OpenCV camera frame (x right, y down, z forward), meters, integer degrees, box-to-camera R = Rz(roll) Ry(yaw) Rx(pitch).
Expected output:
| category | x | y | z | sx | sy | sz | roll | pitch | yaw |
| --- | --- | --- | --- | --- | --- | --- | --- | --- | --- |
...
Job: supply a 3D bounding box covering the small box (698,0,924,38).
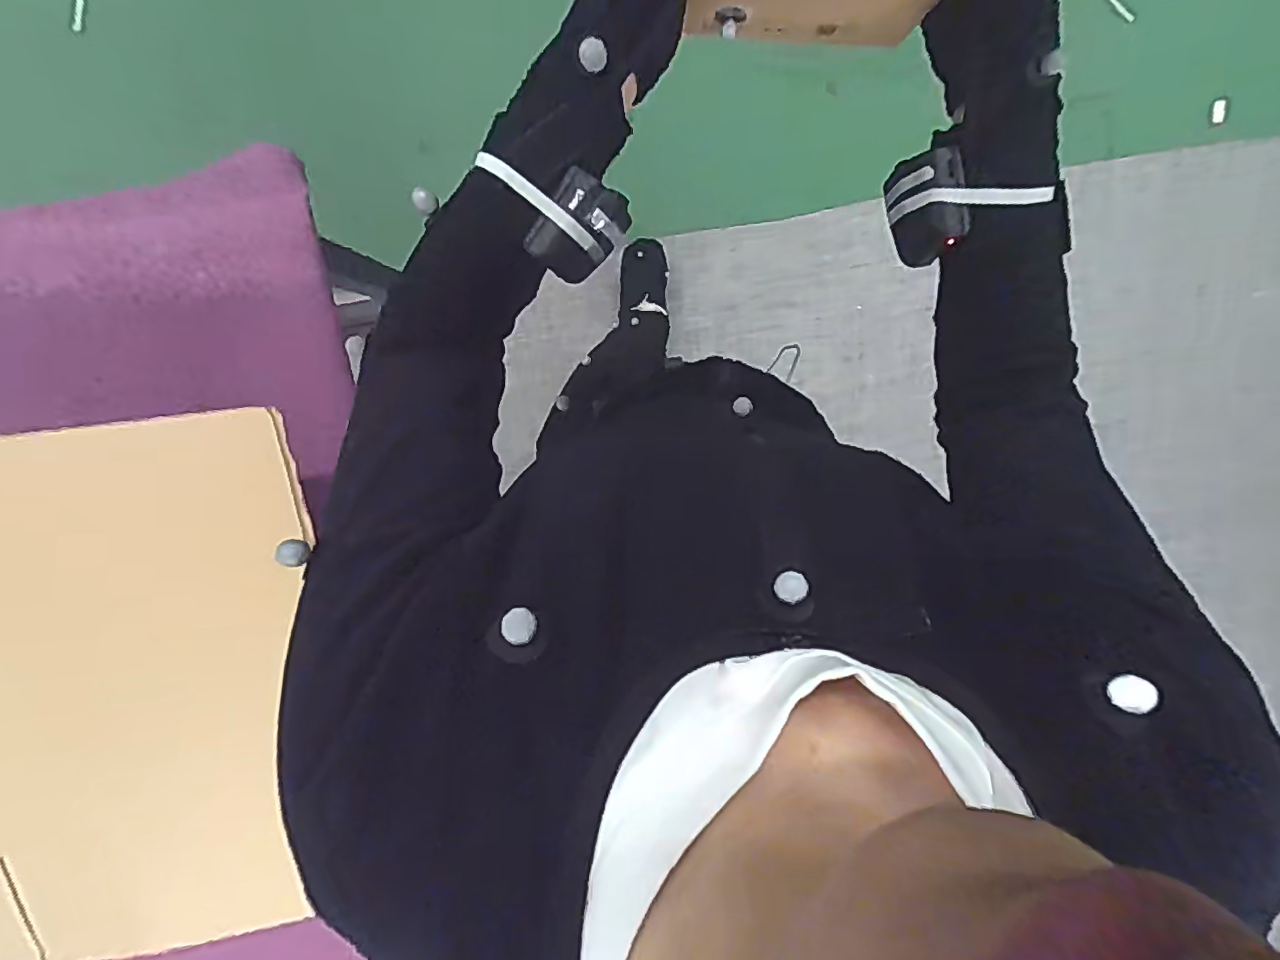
| category | x | y | z | sx | sy | sz | roll | pitch | yaw |
| --- | --- | --- | --- | --- | --- | --- | --- | --- | --- |
| small box | 0.118 | -0.393 | 0.306 | 0.168 | 0.176 | 0.179 | 3 | 106 | -1 |
